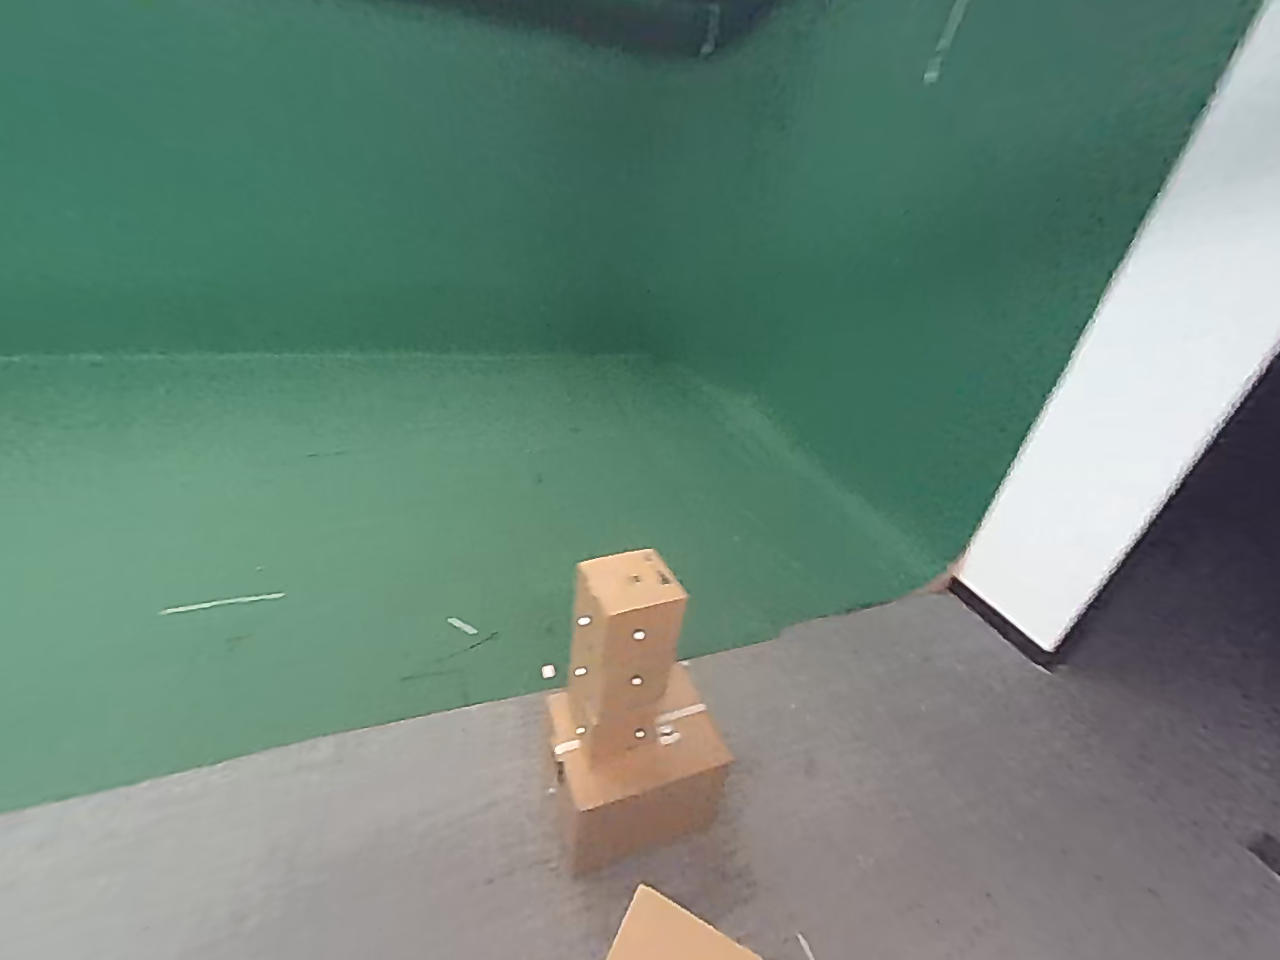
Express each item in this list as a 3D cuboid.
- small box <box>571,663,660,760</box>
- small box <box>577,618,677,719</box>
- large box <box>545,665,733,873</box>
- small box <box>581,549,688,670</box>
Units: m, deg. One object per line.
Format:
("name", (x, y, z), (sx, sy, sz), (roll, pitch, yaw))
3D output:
("small box", (-0.065, 0.551, 1.317), (0.168, 0.176, 0.179), (-6, 33, -22))
("small box", (-0.039, 0.412, 1.234), (0.179, 0.176, 0.168), (-8, 35, -26))
("large box", (-0.023, 0.760, 1.456), (0.408, 0.320, 0.320), (-5, 34, -22))
("small box", (-0.020, 0.274, 1.147), (0.179, 0.176, 0.168), (-8, 35, -24))
